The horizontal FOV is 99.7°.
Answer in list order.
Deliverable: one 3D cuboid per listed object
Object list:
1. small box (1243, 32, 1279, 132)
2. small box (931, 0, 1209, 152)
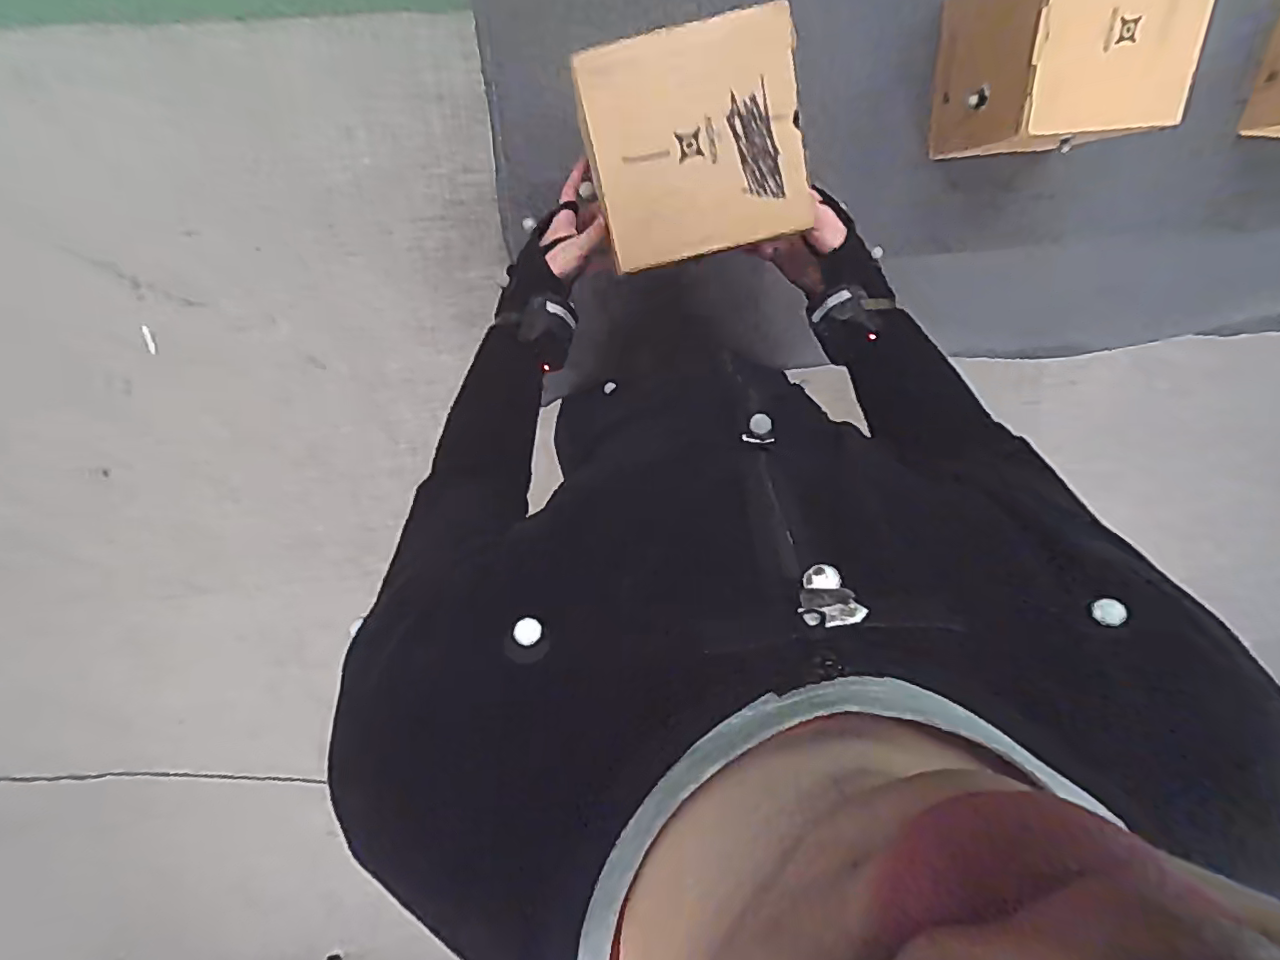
[{"bbox_3d":[0.889,-0.511,0.626,0.179,0.176,0.168,-1,114,-6],"label":"small box"},{"bbox_3d":[0.455,-0.470,0.593,0.179,0.176,0.168,-8,116,-5],"label":"small box"}]
